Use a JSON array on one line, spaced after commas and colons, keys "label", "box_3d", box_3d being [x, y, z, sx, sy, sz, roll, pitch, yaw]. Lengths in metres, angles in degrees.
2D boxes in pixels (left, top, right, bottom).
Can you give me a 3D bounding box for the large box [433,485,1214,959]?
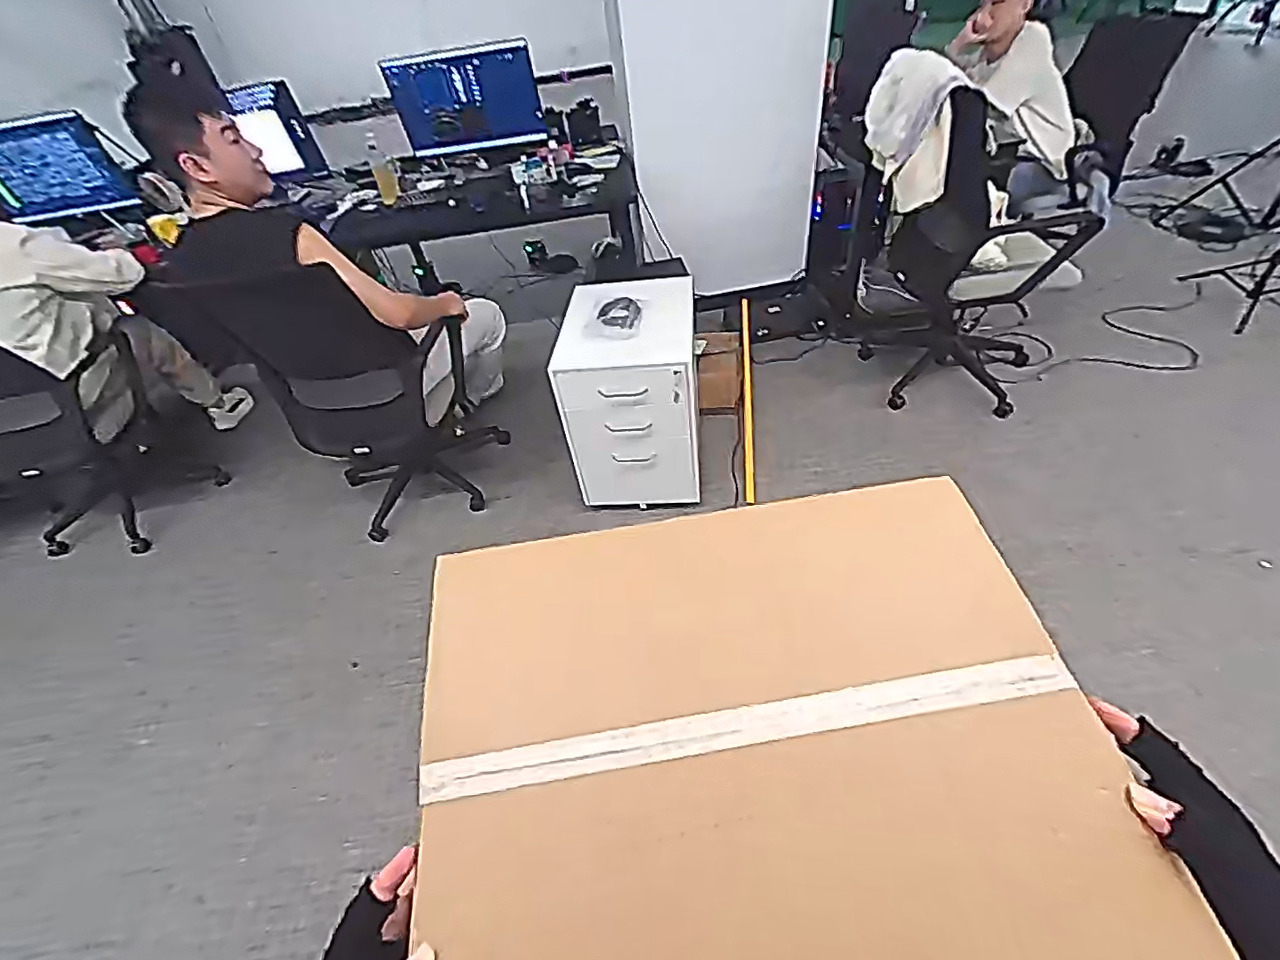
[{"label": "large box", "box_3d": [0.079, 0.245, 0.466, 0.408, 0.320, 0.320, -9, 56, -2]}]
